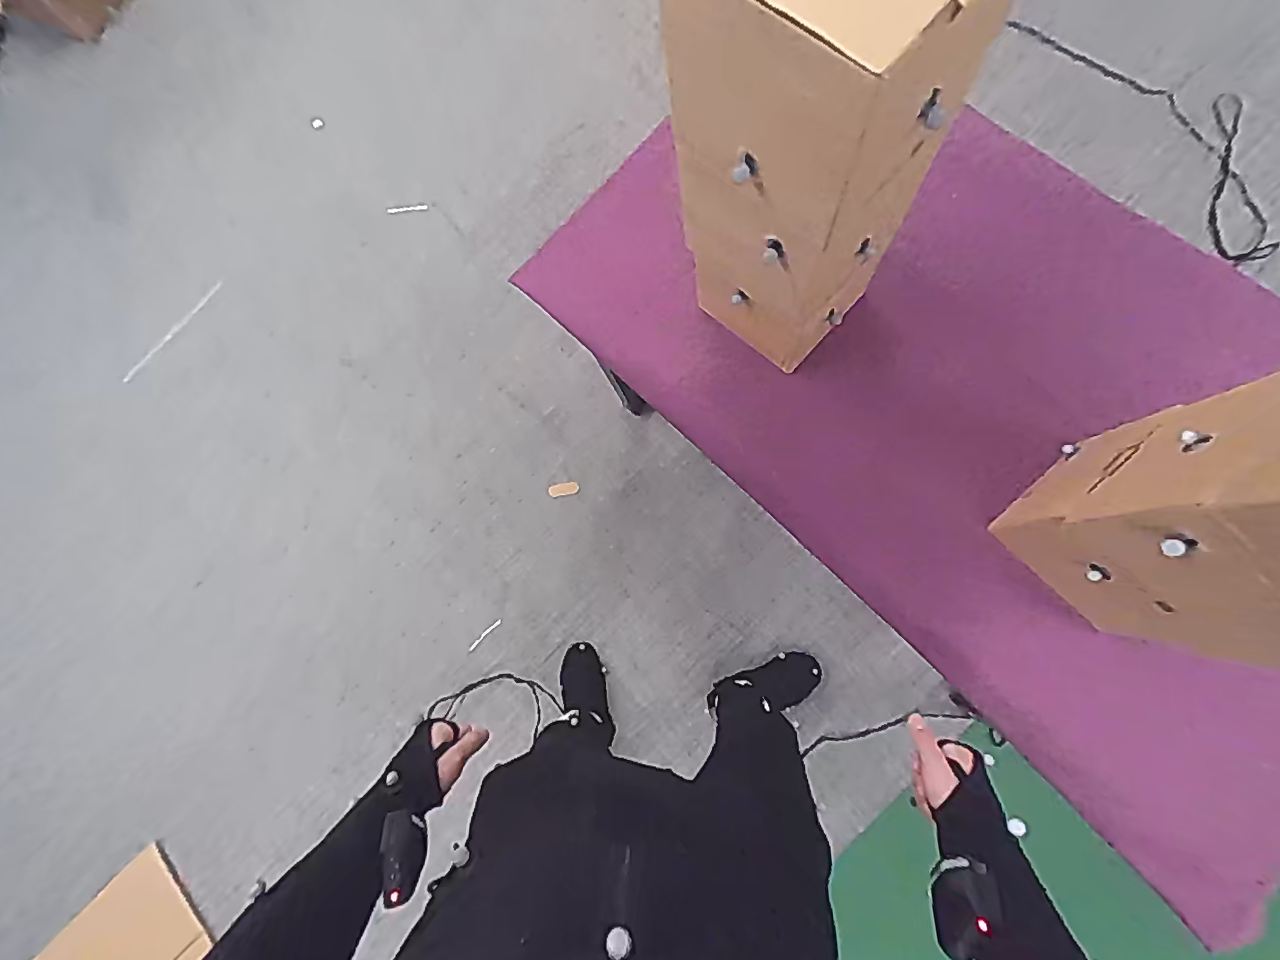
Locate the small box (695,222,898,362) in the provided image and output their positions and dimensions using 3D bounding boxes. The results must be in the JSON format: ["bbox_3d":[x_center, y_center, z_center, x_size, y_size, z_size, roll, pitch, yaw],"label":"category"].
[{"bbox_3d":[0.195,-0.279,0.713,0.179,0.176,0.168,42,90,14],"label":"small box"}]

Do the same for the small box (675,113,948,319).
[{"bbox_3d":[0.159,-0.292,0.552,0.179,0.176,0.168,44,90,13],"label":"small box"}]

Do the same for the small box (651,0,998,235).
[{"bbox_3d":[0.131,-0.314,0.392,0.179,0.176,0.168,43,90,12],"label":"small box"}]

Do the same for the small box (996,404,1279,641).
[{"bbox_3d":[0.550,0.051,0.598,0.168,0.176,0.179,-43,77,0],"label":"small box"}]
